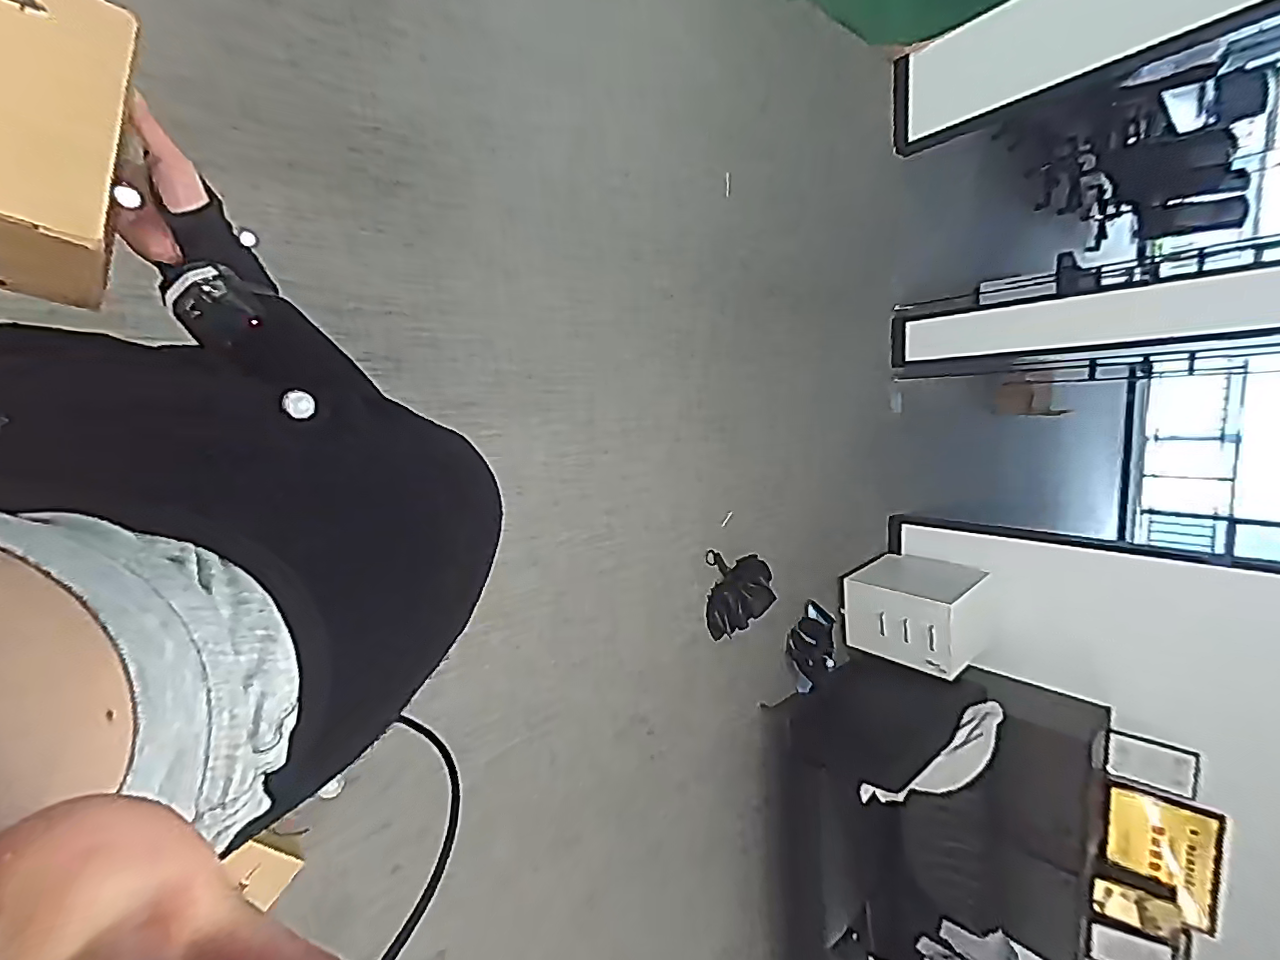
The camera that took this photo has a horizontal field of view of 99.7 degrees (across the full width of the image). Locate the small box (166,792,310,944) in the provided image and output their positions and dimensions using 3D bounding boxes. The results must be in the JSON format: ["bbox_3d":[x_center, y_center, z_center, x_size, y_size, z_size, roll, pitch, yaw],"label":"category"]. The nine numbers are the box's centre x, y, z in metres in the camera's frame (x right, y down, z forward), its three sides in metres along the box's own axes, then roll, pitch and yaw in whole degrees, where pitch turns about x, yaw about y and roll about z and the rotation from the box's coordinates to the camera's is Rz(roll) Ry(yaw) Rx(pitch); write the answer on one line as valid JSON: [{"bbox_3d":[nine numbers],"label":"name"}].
[{"bbox_3d":[-0.840,0.806,1.136,0.179,0.176,0.168,-54,124,-24],"label":"small box"}]

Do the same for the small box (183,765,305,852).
[{"bbox_3d":[-0.935,0.807,1.271,0.168,0.176,0.179,43,68,-34],"label":"small box"}]

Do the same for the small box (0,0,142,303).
[{"bbox_3d":[-0.474,-0.246,0.379,0.168,0.176,0.179,8,83,-45],"label":"small box"}]
